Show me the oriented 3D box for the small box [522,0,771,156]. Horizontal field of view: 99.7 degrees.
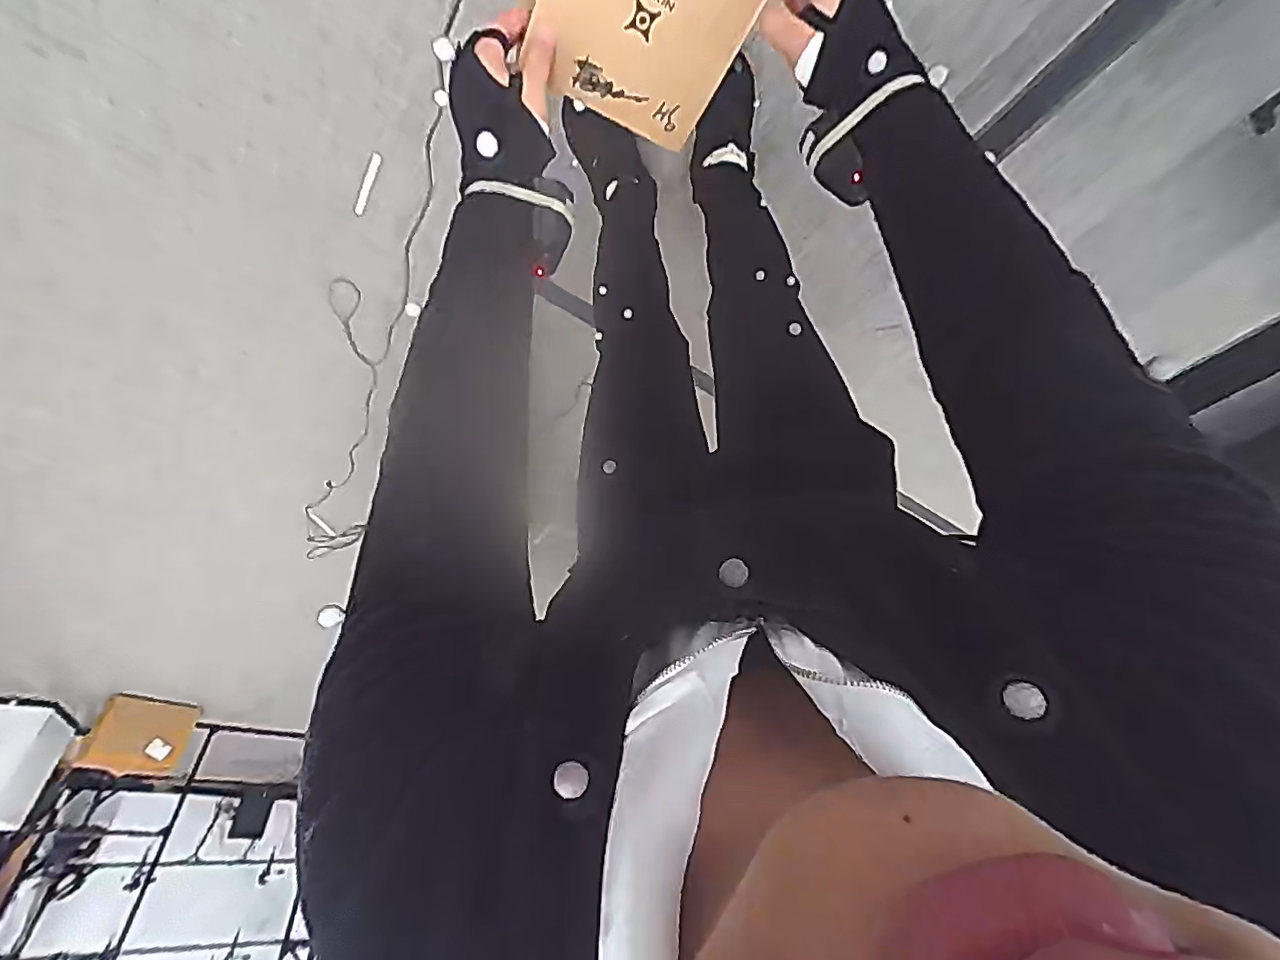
[{"bbox_3d":[0.002,-0.441,0.472,0.168,0.176,0.179,12,144,-27],"label":"small box"}]
